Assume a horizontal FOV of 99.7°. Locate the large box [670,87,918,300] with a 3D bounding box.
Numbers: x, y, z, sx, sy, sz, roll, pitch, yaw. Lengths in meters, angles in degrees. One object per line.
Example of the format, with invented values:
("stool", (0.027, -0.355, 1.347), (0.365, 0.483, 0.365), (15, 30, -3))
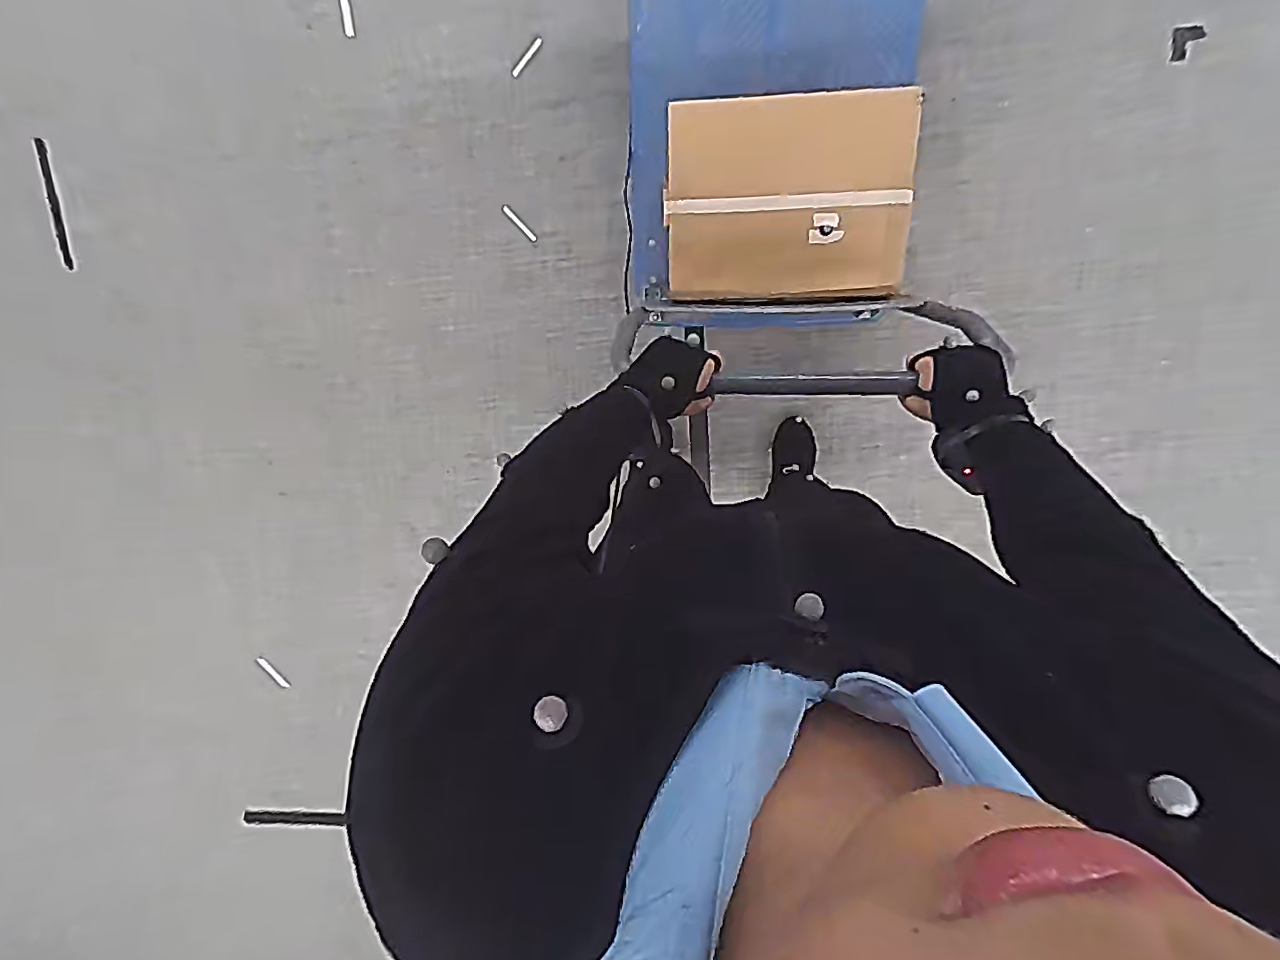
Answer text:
("large box", (0.268, -0.532, 1.072), (0.408, 0.320, 0.320), (0, 111, 6))
